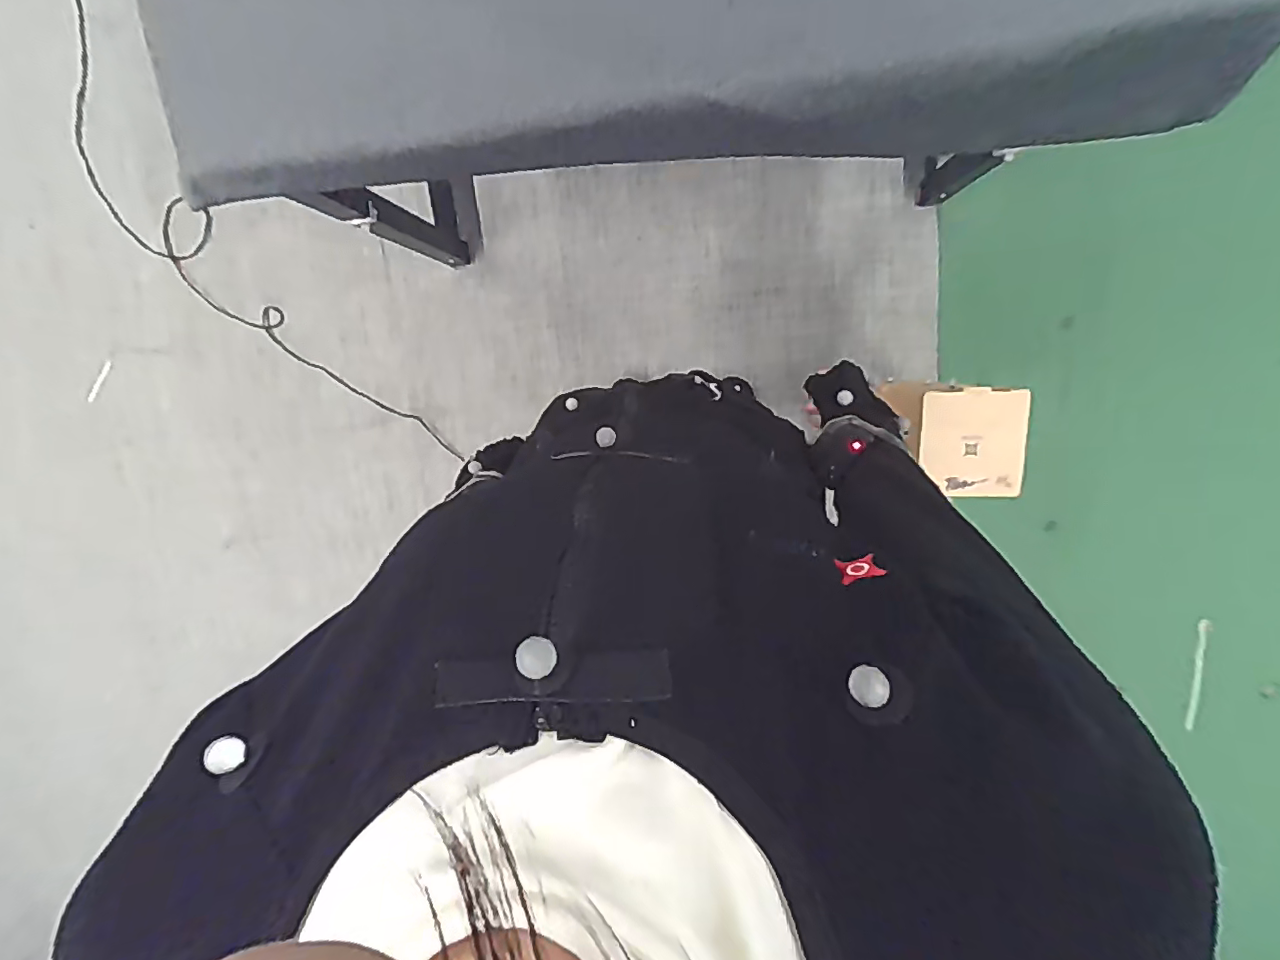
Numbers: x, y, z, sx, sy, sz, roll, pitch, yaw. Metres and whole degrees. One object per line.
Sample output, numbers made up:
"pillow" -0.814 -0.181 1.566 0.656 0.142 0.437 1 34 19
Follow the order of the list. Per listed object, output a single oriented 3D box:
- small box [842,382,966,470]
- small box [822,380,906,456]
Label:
"small box" 0.536 -0.117 1.119 0.179 0.176 0.168 0 101 5
"small box" 0.544 -0.151 1.280 0.179 0.176 0.168 0 101 6
